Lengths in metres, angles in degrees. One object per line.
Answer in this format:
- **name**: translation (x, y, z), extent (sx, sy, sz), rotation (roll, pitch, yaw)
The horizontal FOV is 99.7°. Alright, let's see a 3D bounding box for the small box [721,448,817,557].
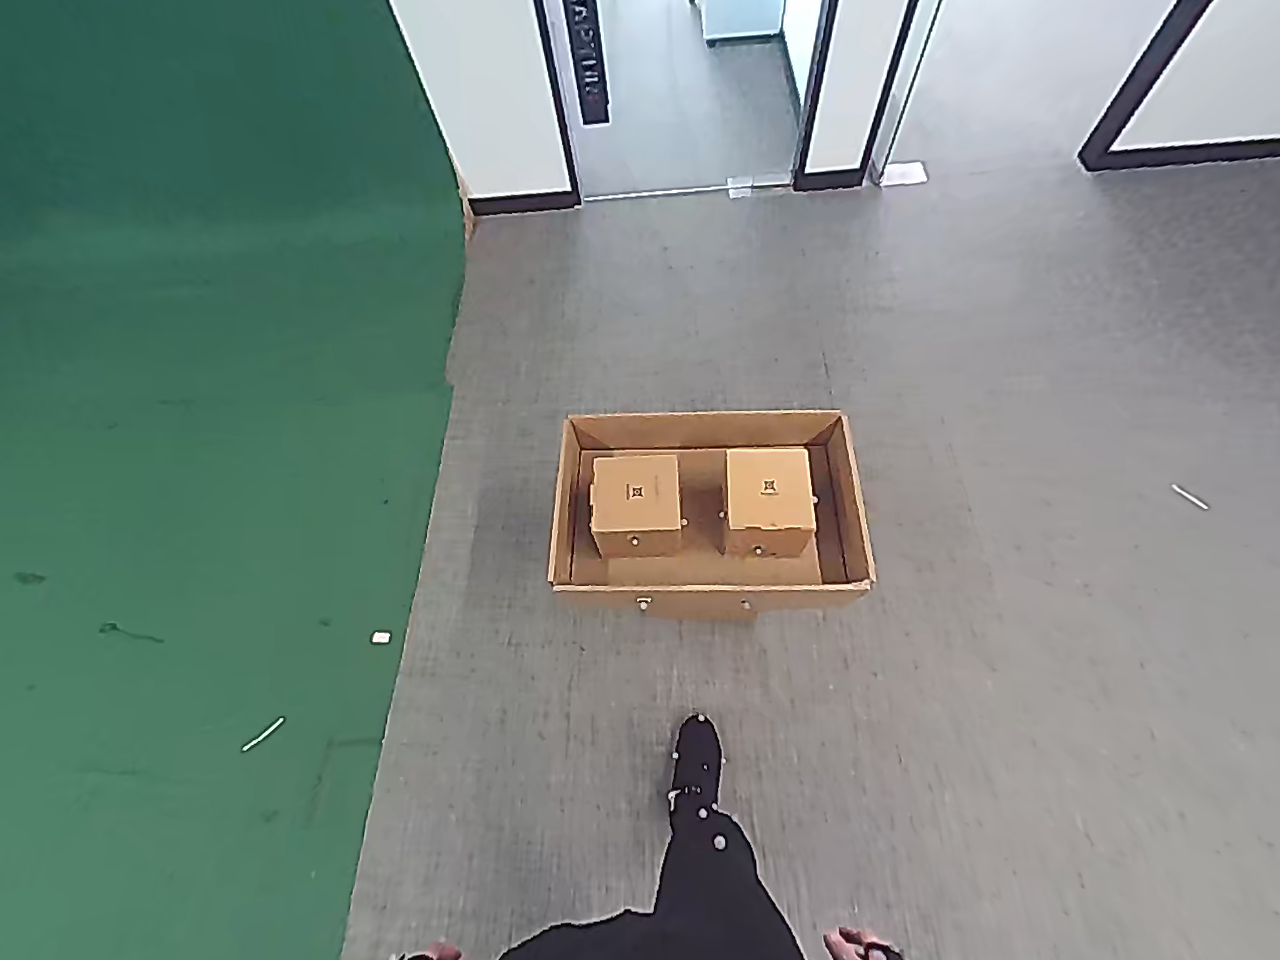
- **small box**: translation (0.260, 0.049, 1.130), extent (0.168, 0.176, 0.179), rotation (0, 64, 4)

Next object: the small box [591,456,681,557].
- **small box**: translation (-0.003, 0.060, 1.147), extent (0.179, 0.176, 0.168), rotation (-1, 63, 3)
